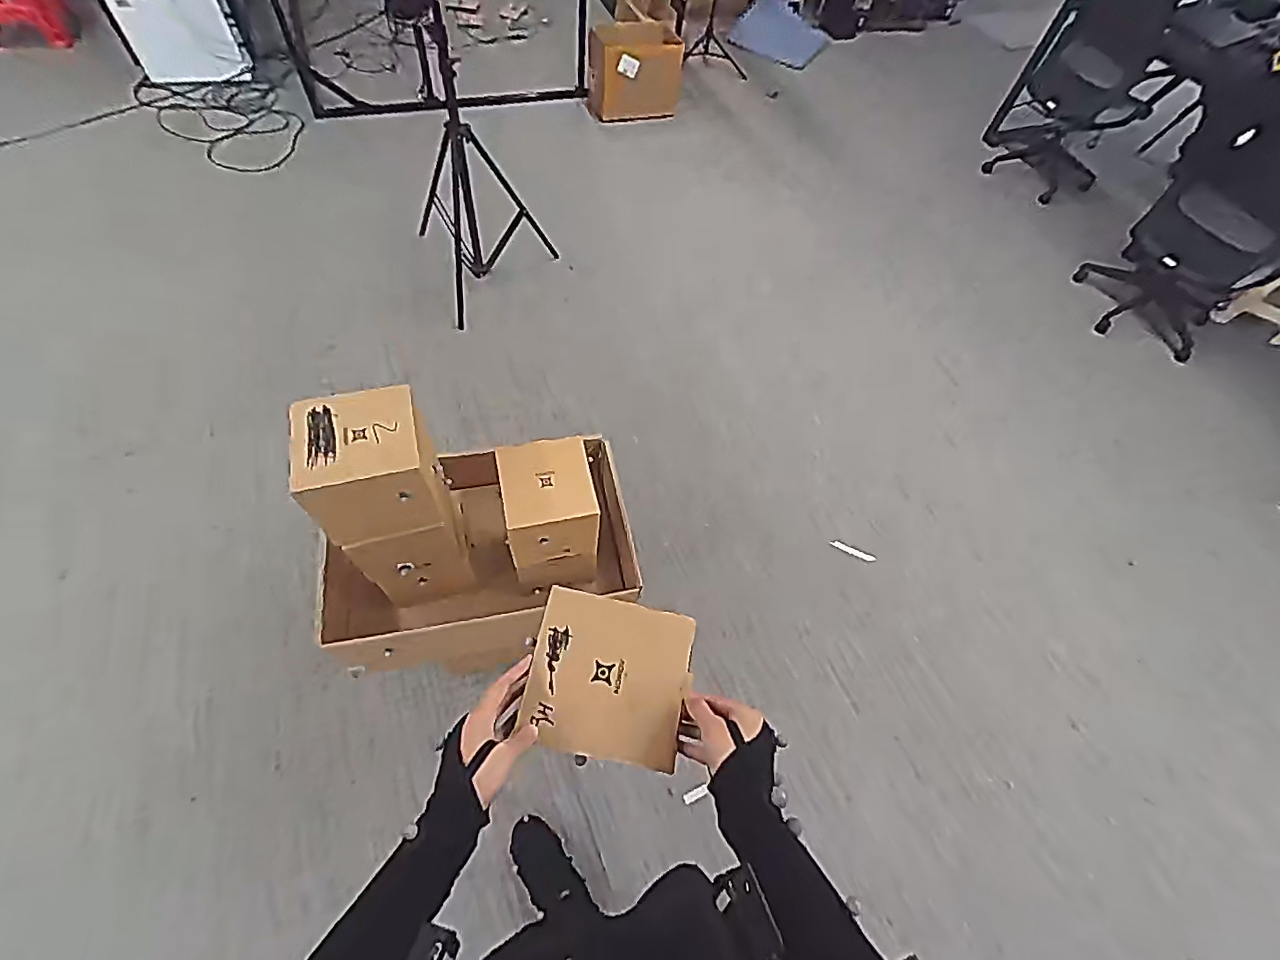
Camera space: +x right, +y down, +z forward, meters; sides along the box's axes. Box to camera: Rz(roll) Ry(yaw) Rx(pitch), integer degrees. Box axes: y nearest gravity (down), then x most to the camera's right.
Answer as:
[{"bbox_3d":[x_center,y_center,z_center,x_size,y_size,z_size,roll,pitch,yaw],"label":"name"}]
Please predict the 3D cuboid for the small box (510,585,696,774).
[{"bbox_3d":[-0.049,0.242,0.661,0.179,0.176,0.168,15,65,-6],"label":"small box"}]

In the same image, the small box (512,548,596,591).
[{"bbox_3d":[-0.194,0.131,1.185,0.168,0.176,0.179,-11,60,-13],"label":"small box"}]

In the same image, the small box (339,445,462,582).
[{"bbox_3d":[-0.438,0.065,1.001,0.168,0.176,0.179,-14,61,-13],"label":"small box"}]

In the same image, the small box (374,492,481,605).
[{"bbox_3d":[-0.446,0.149,1.142,0.179,0.176,0.168,-10,61,-14],"label":"small box"}]

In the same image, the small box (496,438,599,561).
[{"bbox_3d":[-0.177,0.045,1.048,0.168,0.176,0.179,-10,60,-13],"label":"small box"}]
